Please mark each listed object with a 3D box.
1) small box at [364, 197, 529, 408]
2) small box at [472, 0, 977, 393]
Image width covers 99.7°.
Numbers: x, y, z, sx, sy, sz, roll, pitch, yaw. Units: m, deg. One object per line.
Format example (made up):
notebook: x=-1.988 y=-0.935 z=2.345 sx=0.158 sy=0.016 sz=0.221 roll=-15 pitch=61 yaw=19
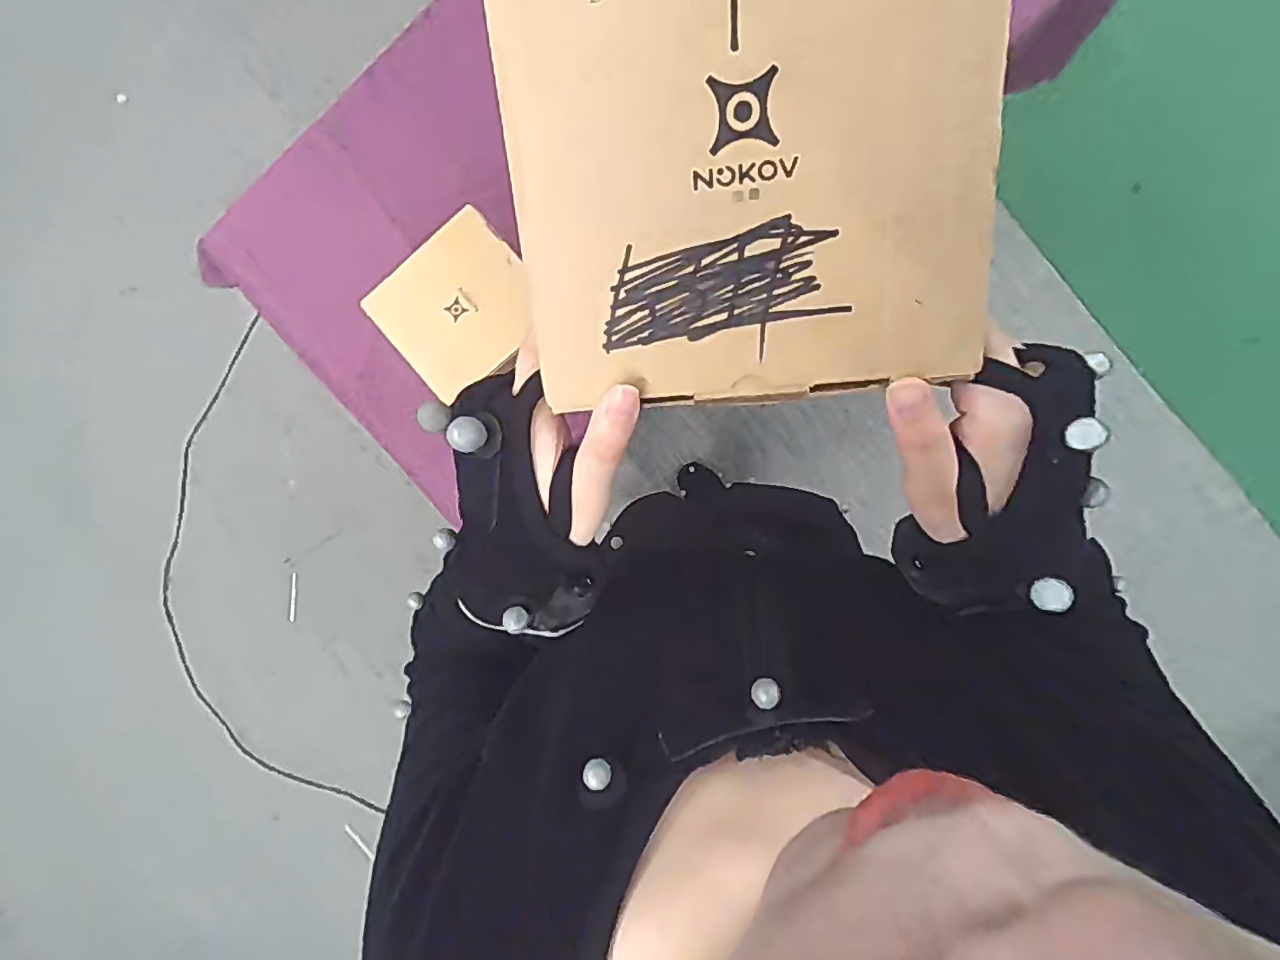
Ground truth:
small box: x=-0.202 y=-0.212 z=0.703 sx=0.179 sy=0.176 sz=0.168 roll=-40 pitch=89 yaw=4
small box: x=0.038 y=-0.146 z=0.264 sx=0.168 sy=0.176 sz=0.179 roll=-2 pitch=107 yaw=9
